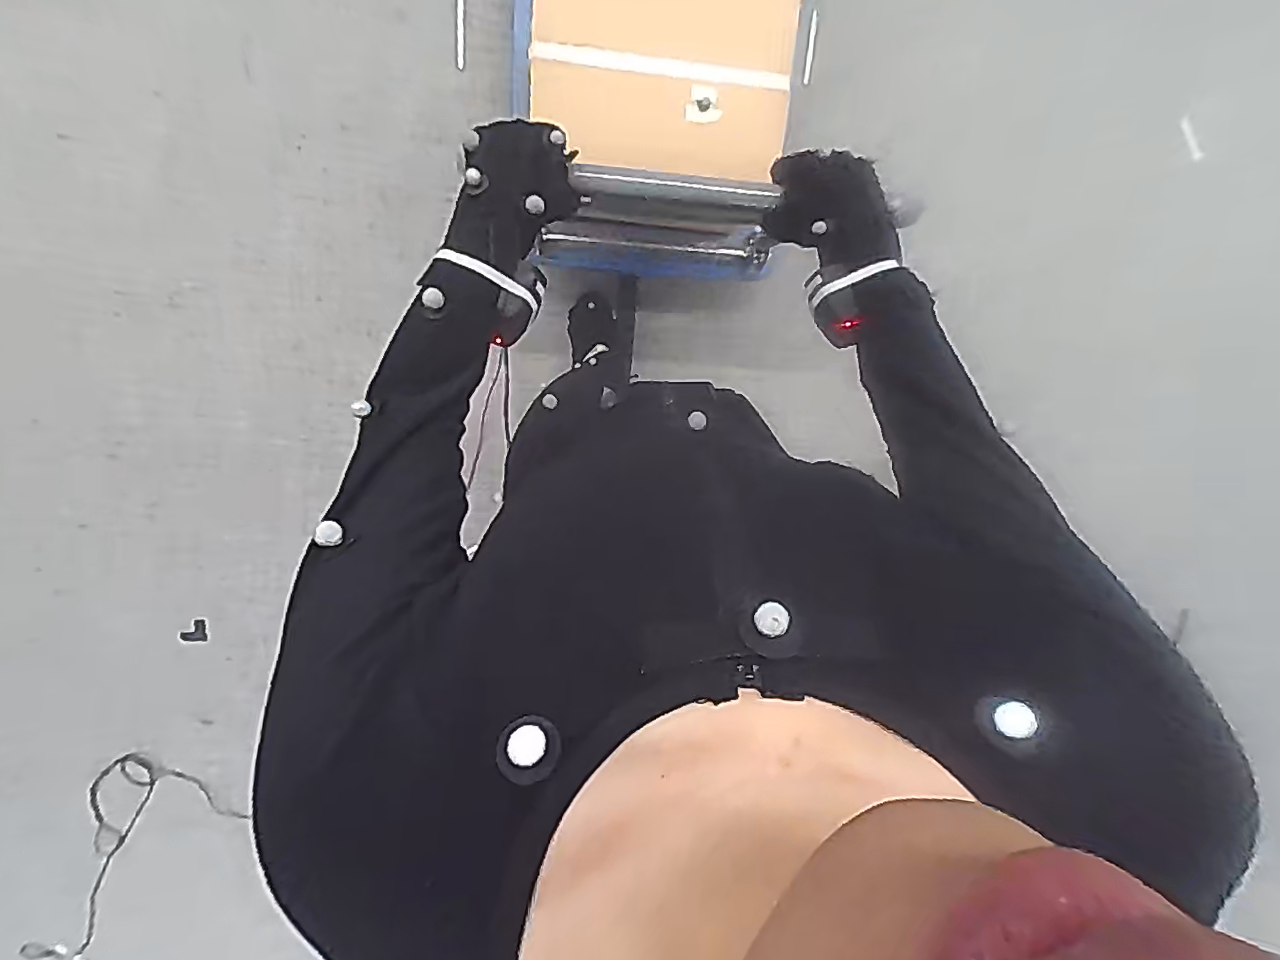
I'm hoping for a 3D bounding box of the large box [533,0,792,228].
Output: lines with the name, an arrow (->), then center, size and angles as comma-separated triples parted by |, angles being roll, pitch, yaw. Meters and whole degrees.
large box -> 0.019, -0.678, 0.995 | 0.408, 0.320, 0.320 | 3, 103, -7
